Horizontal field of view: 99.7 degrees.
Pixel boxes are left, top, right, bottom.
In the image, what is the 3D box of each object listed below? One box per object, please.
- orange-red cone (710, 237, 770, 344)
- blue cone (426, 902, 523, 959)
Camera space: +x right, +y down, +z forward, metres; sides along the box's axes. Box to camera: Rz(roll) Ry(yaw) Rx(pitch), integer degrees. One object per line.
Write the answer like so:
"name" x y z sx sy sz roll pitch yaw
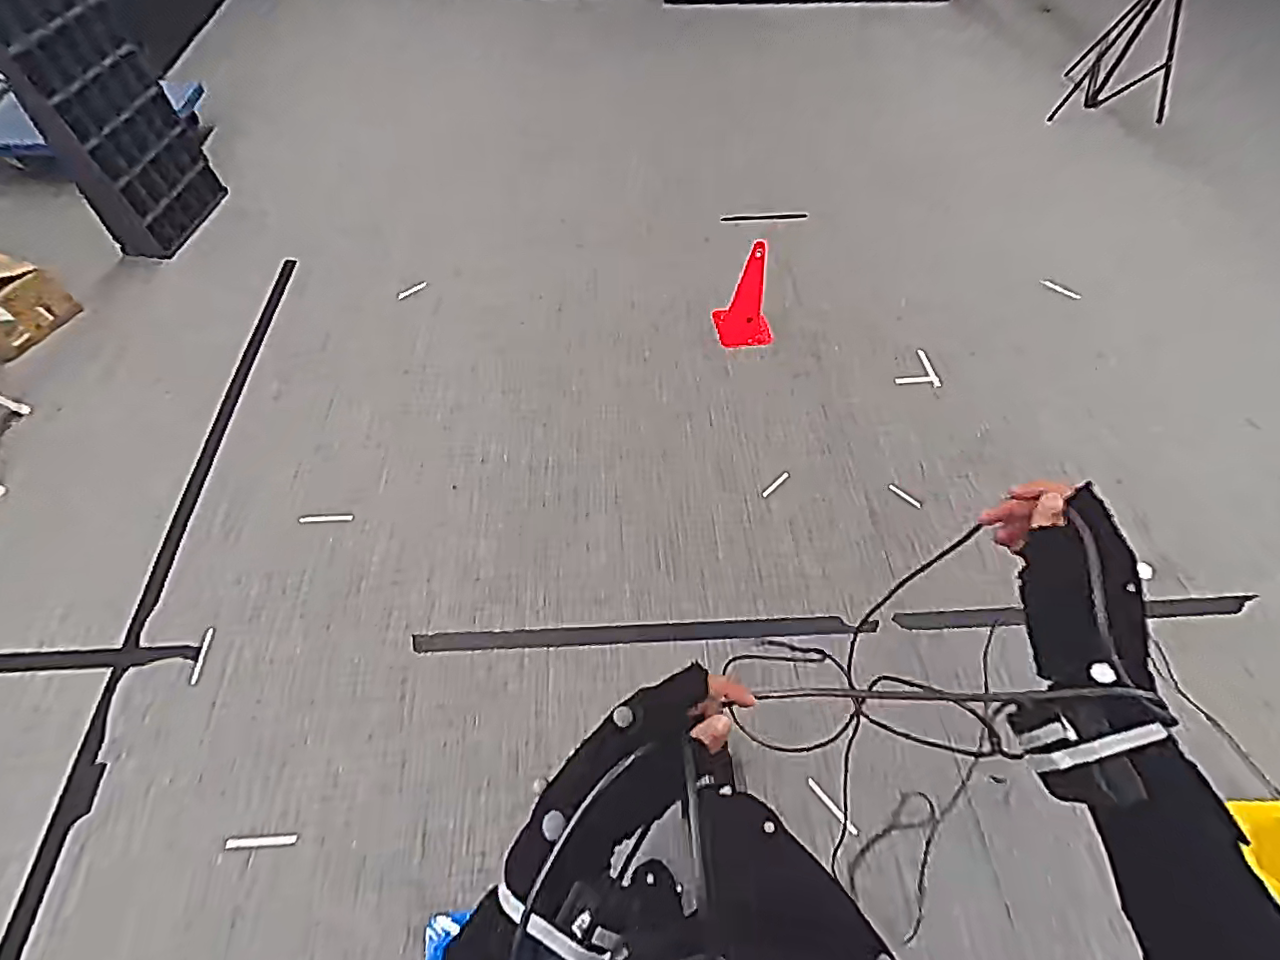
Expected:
"orange-red cone" 0.372 -0.676 1.886 0.199 0.360 0.198 -7 58 -3
"blue cone" -0.326 0.881 0.926 0.193 0.380 0.192 -7 59 -5
